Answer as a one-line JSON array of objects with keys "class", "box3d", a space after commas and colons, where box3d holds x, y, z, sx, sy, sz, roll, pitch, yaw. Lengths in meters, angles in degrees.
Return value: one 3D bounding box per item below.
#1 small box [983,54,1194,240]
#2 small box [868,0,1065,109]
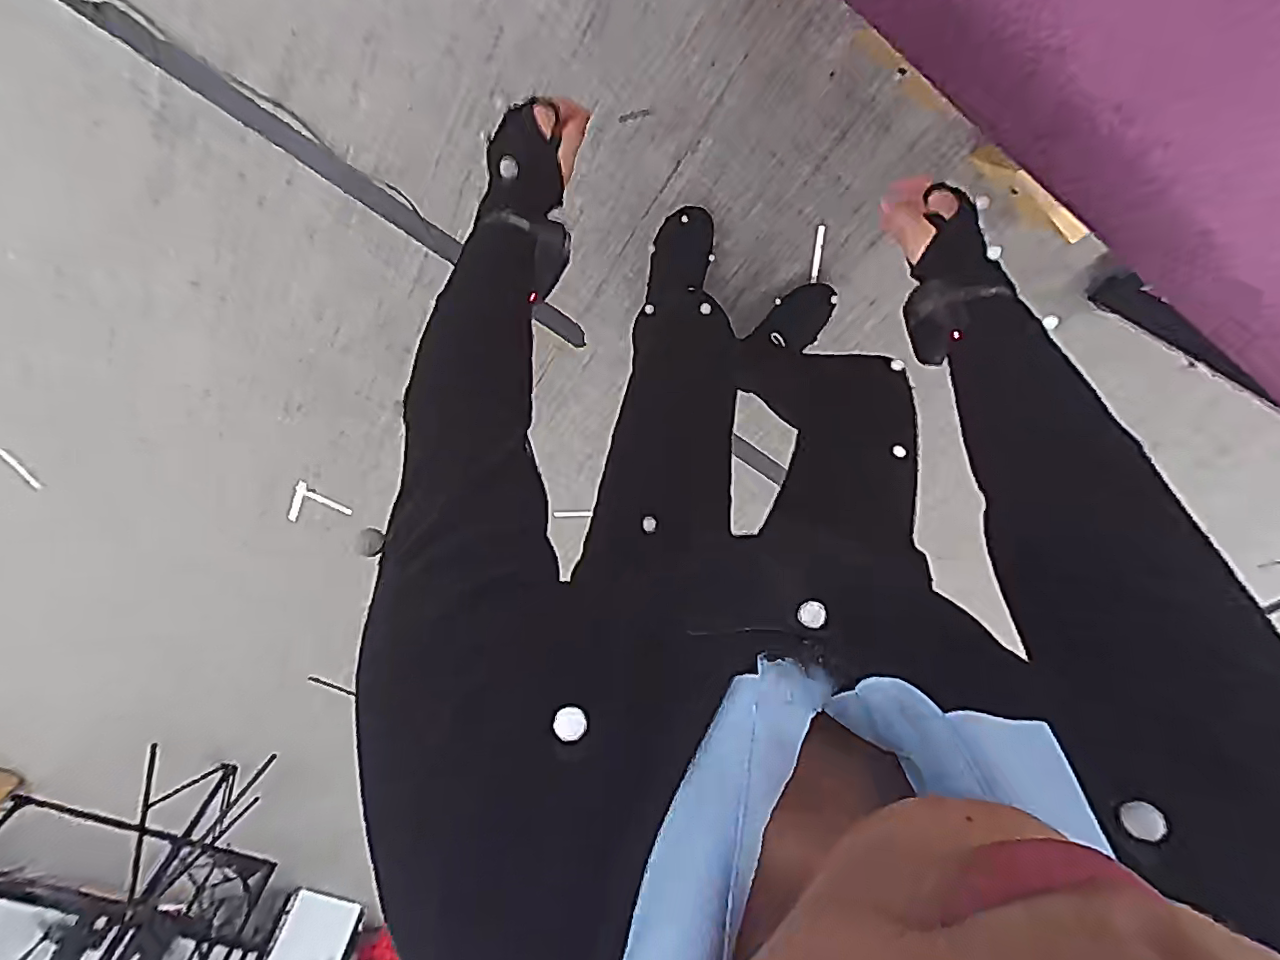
[{"class": "small box", "box3d": [0.680, -0.520, 0.849, 0.168, 0.176, 0.179, 33, 122, -19]}, {"class": "small box", "box3d": [0.447, -0.663, 0.756, 0.168, 0.176, 0.179, 30, 124, -18]}]
